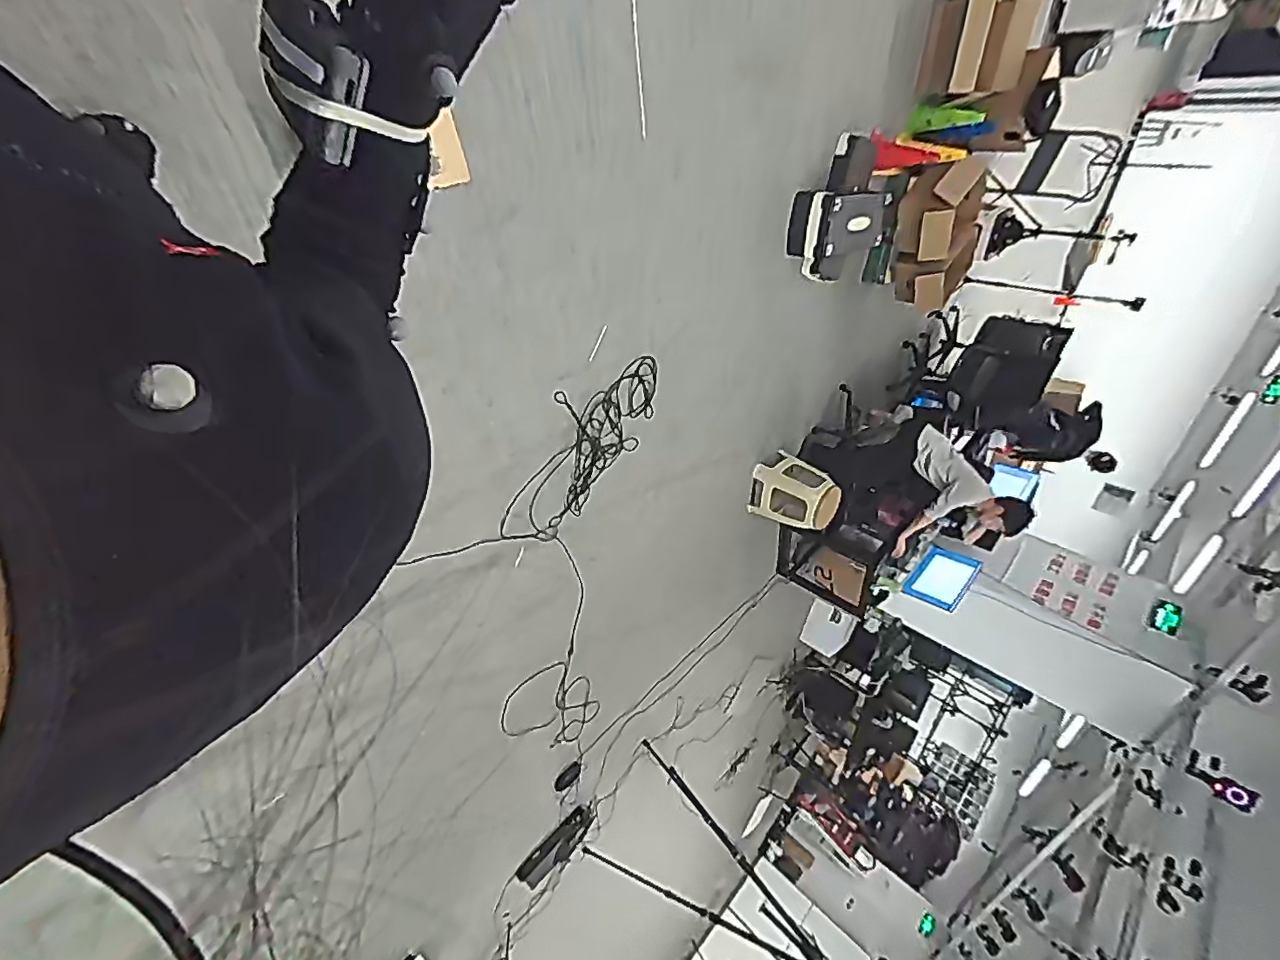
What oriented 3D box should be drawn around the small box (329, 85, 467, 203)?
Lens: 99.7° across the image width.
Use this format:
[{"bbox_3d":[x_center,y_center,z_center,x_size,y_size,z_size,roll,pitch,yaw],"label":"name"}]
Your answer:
[{"bbox_3d":[-0.485,-0.677,1.089,0.168,0.176,0.179,-37,136,-31],"label":"small box"}]
